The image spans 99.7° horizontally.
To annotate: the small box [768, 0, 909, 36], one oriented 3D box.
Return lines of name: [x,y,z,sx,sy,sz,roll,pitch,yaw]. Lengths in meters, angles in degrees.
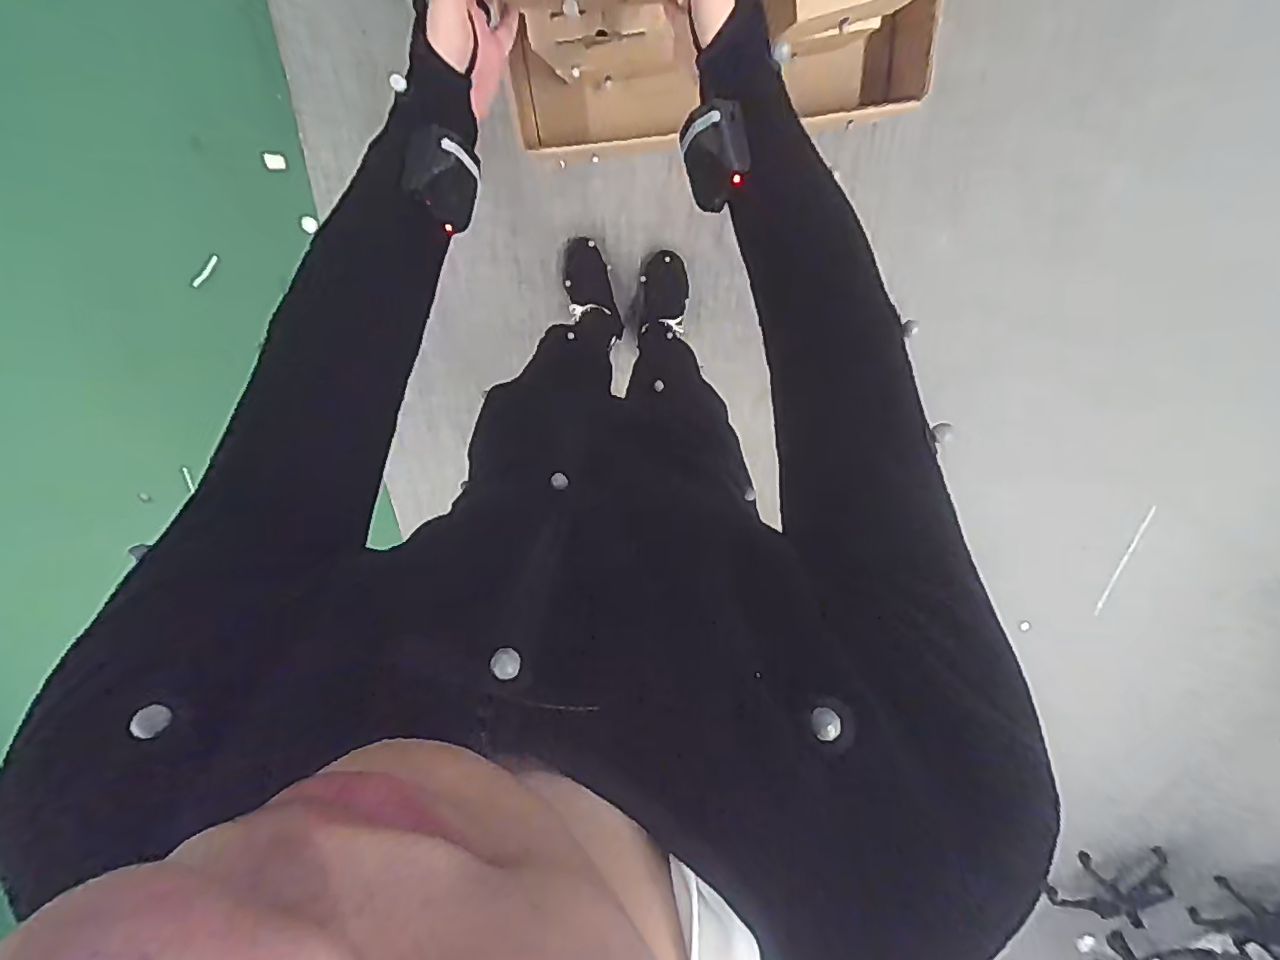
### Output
small box: [0.236,-0.625,0.600,0.168,0.176,0.179,-11,120,6]

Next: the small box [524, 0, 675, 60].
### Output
small box: [-0.044,-0.603,0.619,0.168,0.176,0.179,-3,119,3]

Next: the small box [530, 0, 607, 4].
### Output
small box: [-0.040,-0.495,0.420,0.168,0.176,0.179,-2,124,3]
